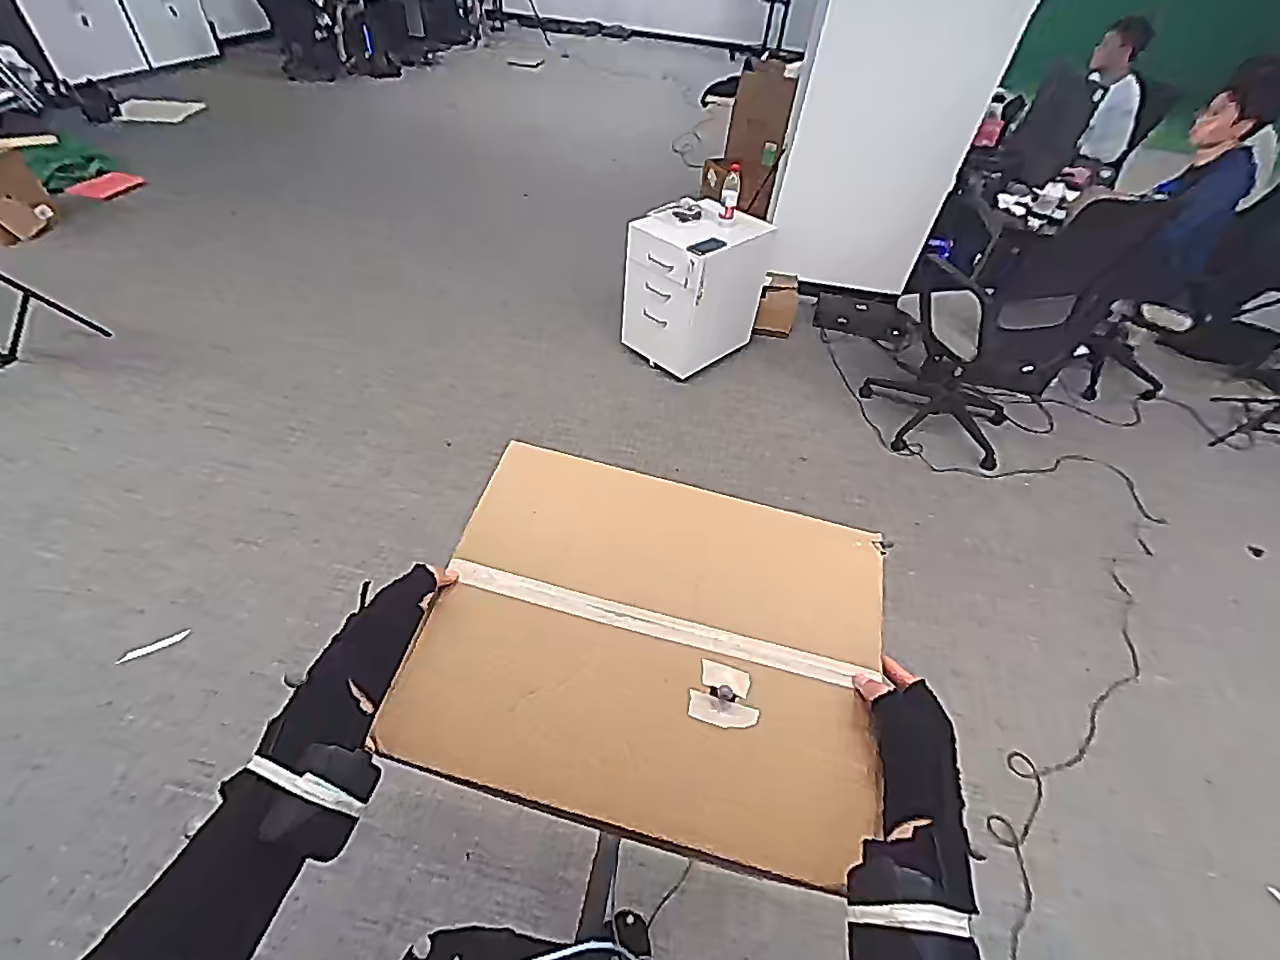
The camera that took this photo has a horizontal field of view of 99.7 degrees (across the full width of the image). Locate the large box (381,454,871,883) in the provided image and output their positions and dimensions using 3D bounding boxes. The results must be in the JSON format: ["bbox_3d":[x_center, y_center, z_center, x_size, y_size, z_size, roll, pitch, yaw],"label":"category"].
[{"bbox_3d":[0.001,0.219,0.625,0.408,0.320,0.320,15,58,3],"label":"large box"}]
